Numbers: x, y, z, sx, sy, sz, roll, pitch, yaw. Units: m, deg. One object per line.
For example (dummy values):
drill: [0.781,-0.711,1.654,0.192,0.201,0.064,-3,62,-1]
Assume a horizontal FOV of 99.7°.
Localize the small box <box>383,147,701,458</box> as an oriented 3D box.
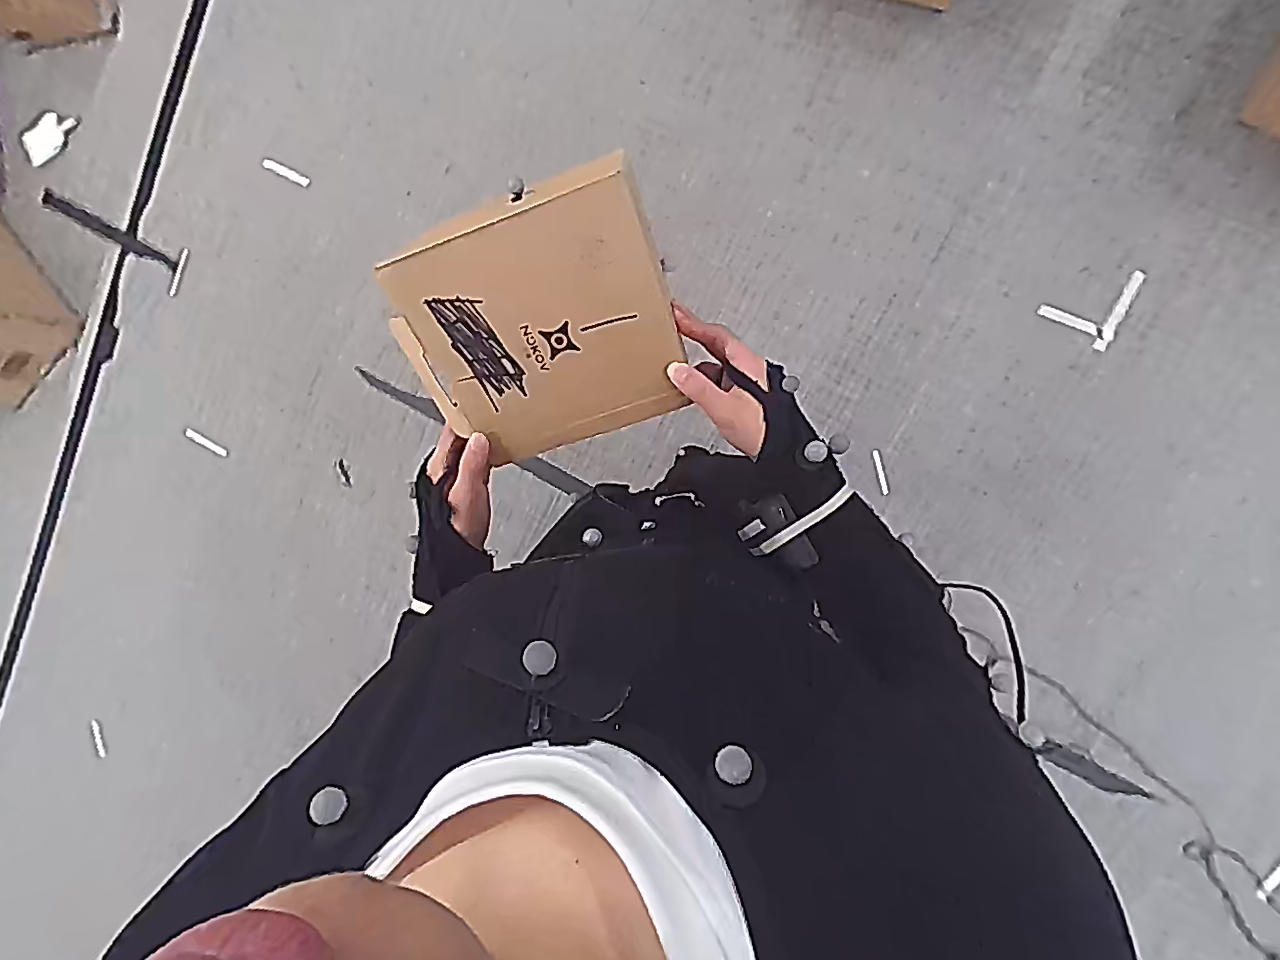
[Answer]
small box: [-0.060,-0.147,0.437,0.179,0.176,0.168,-15,125,9]
